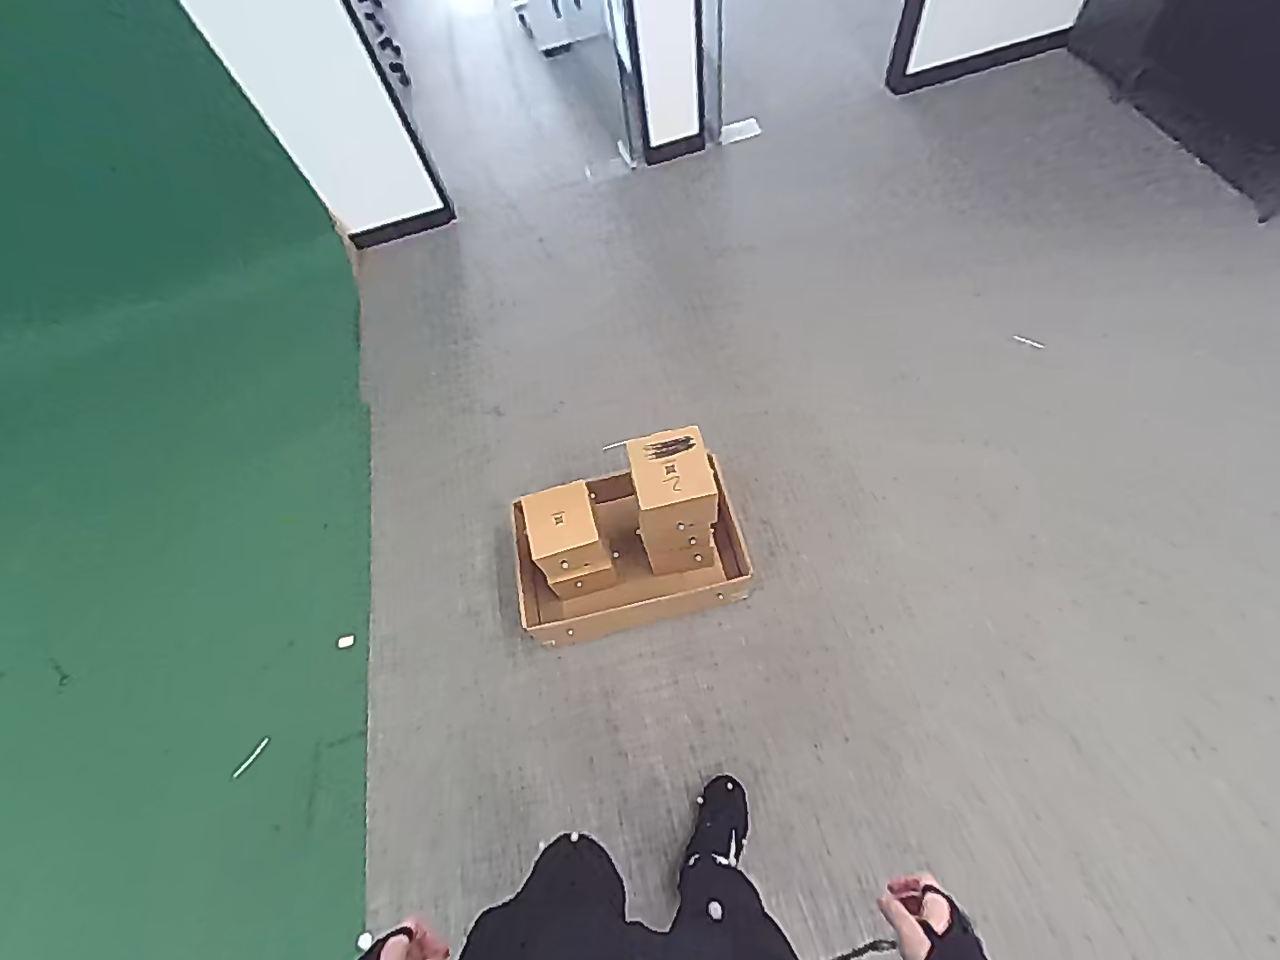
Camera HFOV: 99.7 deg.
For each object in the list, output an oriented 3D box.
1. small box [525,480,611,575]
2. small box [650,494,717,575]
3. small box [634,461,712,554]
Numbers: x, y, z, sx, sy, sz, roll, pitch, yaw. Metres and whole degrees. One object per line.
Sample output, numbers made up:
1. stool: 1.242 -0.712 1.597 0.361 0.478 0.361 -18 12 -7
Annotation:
1. small box: -0.180 0.131 1.388 0.168 0.176 0.179 -17 61 -1
2. small box: 0.116 0.155 1.513 0.179 0.176 0.168 -12 61 4
3. small box: 0.088 0.079 1.372 0.168 0.176 0.179 -11 62 2
